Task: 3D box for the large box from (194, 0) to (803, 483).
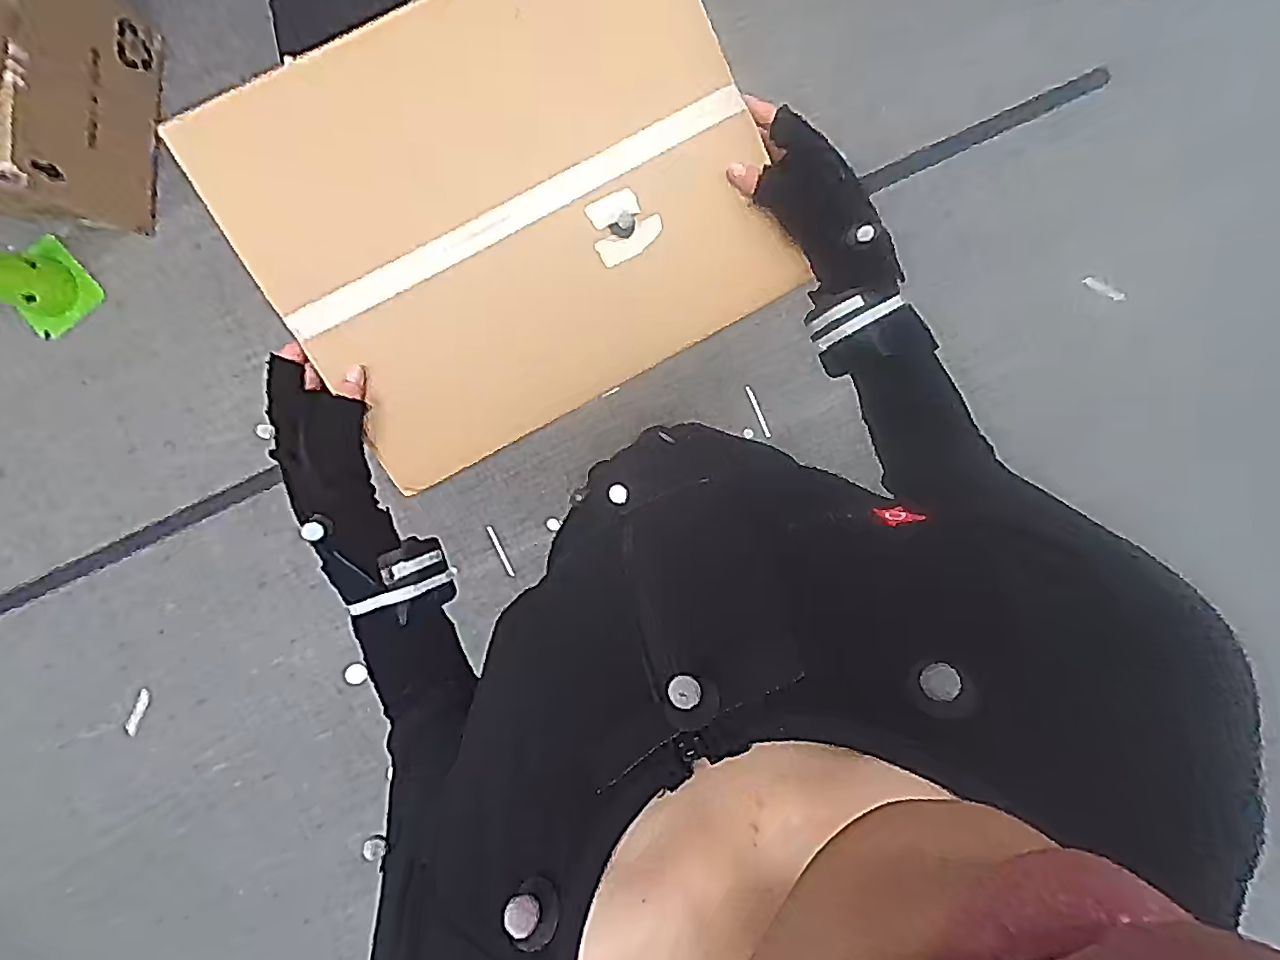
[{"bbox_3d":[-0.117,-0.246,0.587,0.408,0.320,0.320,-29,104,-4],"label":"large box"}]
